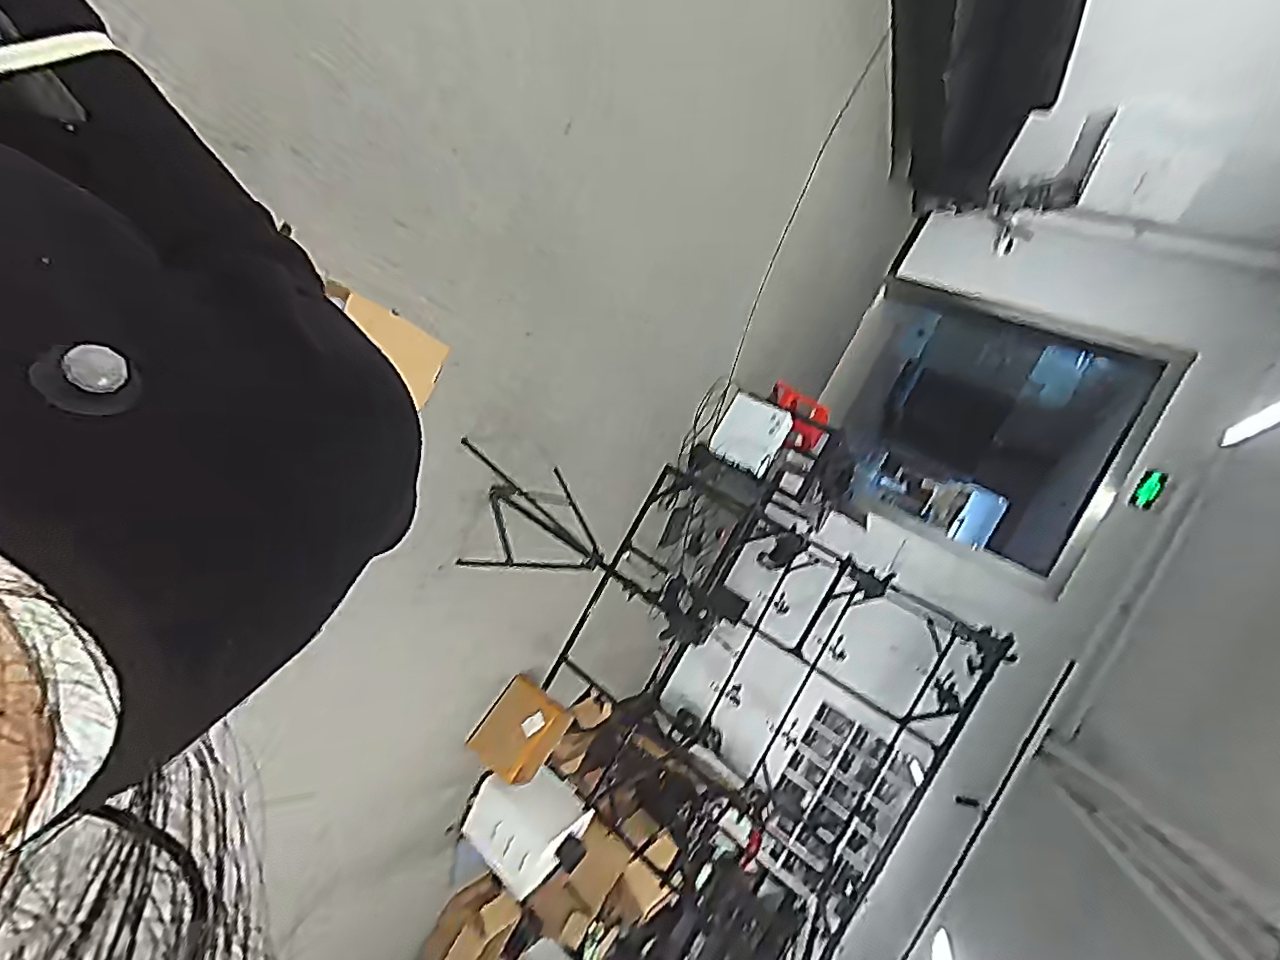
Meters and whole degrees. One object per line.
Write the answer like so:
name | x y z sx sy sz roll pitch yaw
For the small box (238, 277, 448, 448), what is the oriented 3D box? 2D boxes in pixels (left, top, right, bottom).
small box | -0.427 -0.170 0.786 0.168 0.176 0.179 -63 152 0
